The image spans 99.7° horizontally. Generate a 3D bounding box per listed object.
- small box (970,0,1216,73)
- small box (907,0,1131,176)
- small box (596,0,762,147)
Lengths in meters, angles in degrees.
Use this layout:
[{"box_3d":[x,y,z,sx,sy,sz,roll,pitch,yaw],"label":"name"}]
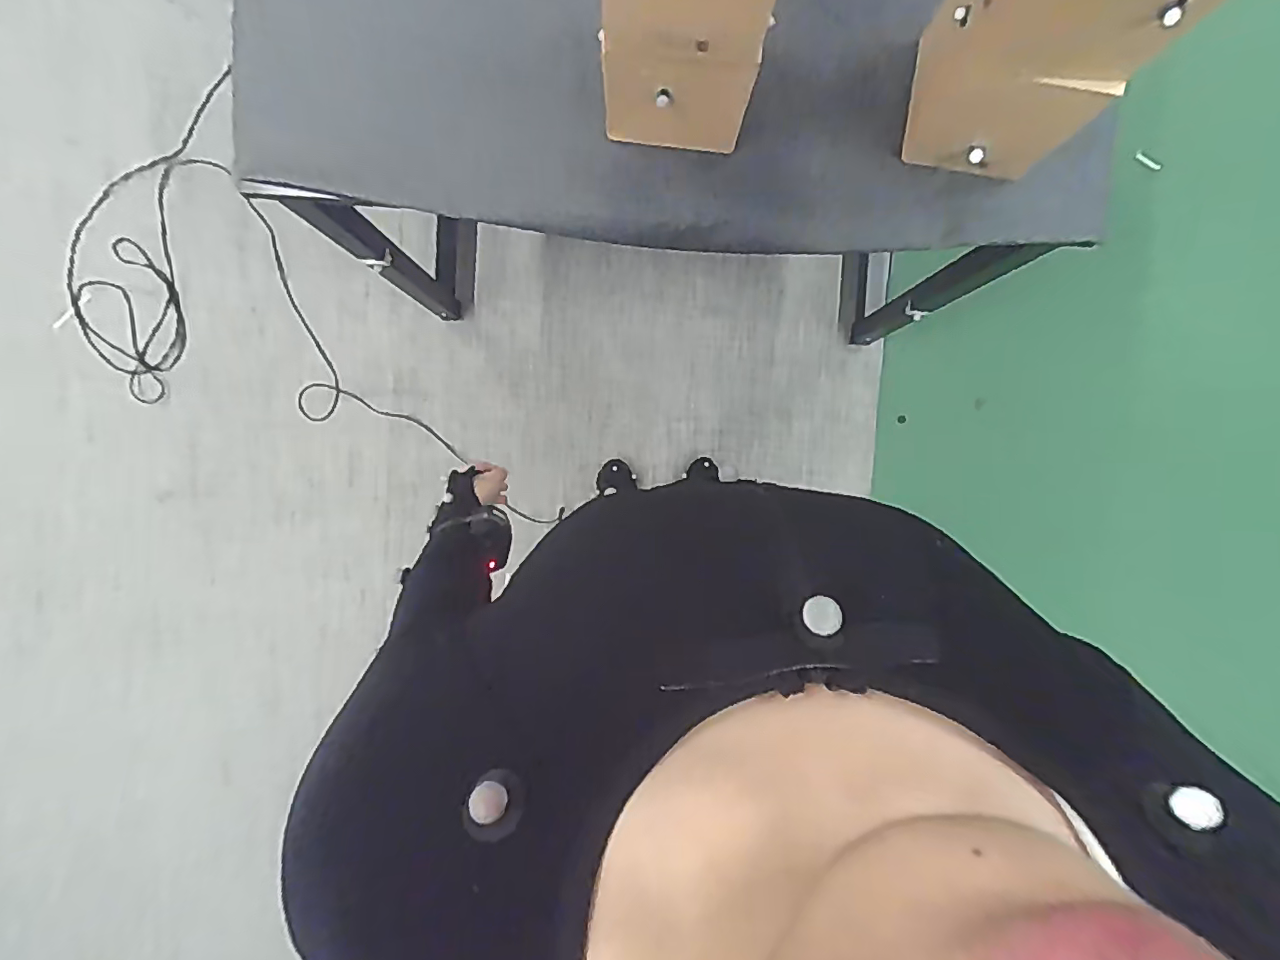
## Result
[{"box_3d":[0.440,-0.513,0.495,0.179,0.176,0.168,1,88,1],"label":"small box"},{"box_3d":[0.451,-0.511,0.657,0.168,0.176,0.179,9,90,0],"label":"small box"},{"box_3d":[0.048,-0.539,0.658,0.179,0.176,0.168,6,91,0],"label":"small box"}]
